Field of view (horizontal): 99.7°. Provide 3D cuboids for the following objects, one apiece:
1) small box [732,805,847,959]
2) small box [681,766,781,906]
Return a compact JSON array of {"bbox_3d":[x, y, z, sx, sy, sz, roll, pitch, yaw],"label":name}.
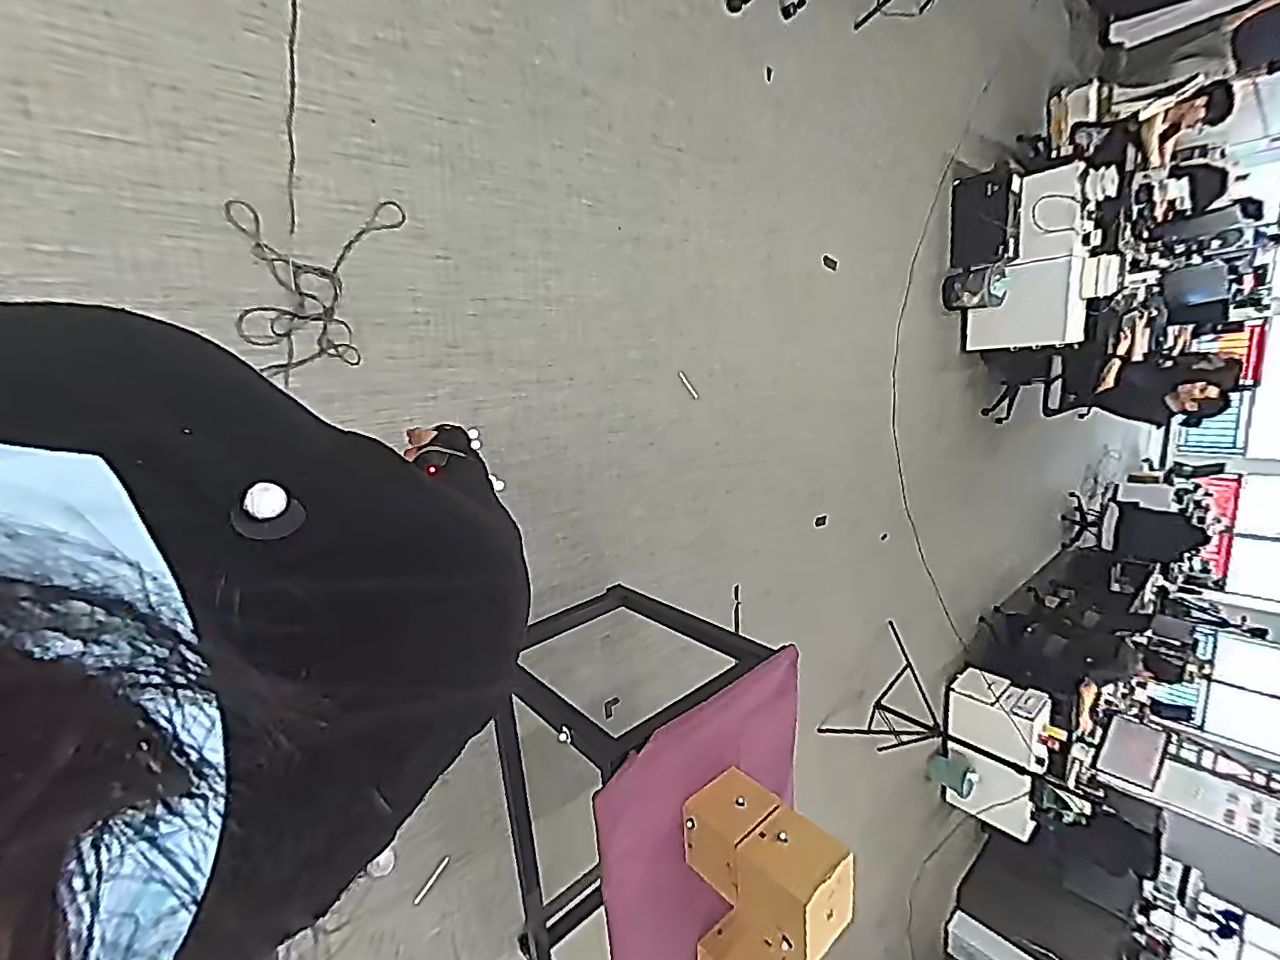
[{"bbox_3d":[0.307,0.830,1.122,0.168,0.176,0.179,-14,106,-38],"label":"small box"},{"bbox_3d":[0.208,0.812,1.253,0.179,0.176,0.168,-13,105,-39],"label":"small box"}]
